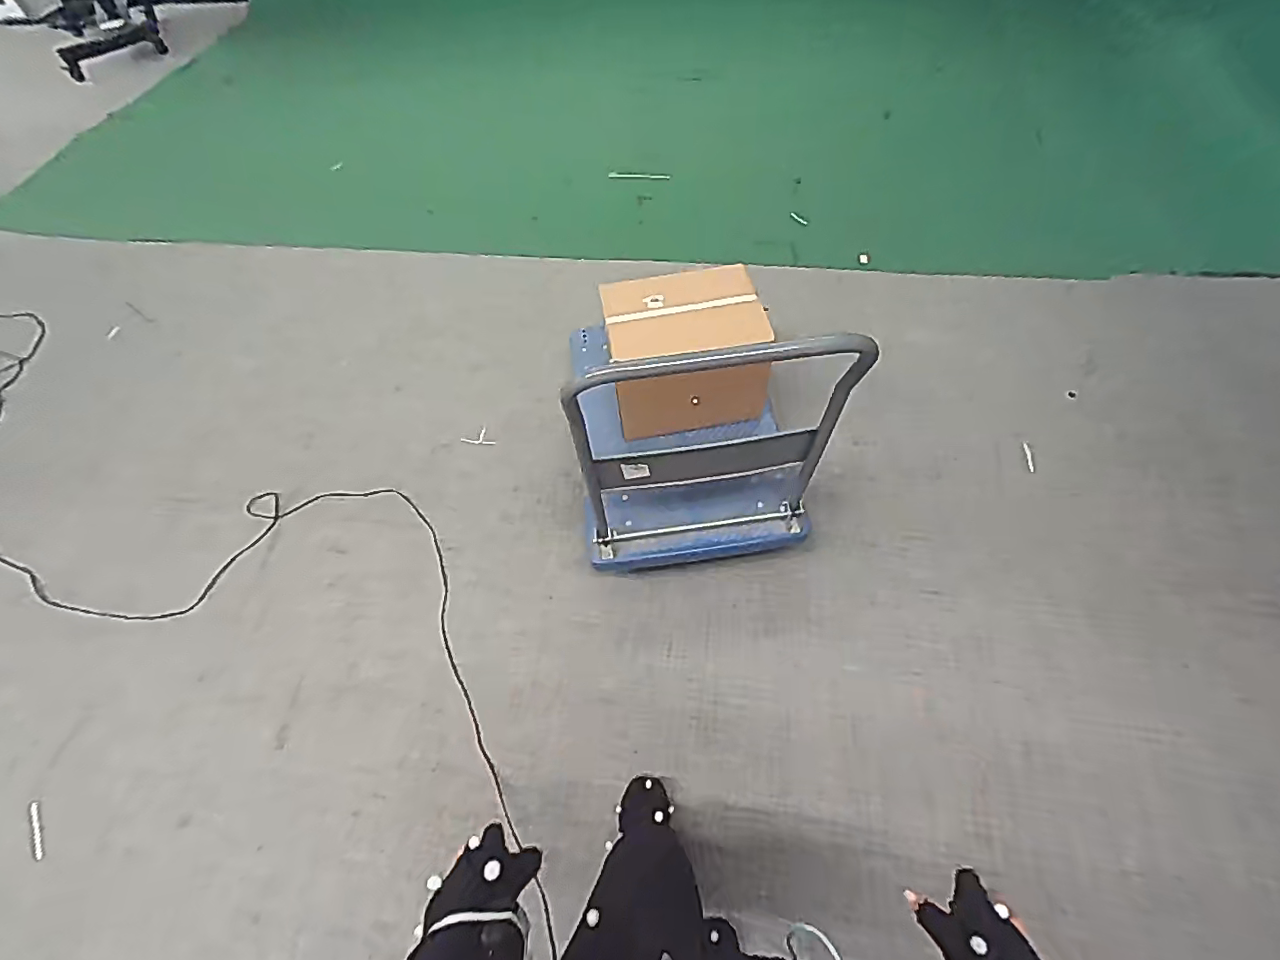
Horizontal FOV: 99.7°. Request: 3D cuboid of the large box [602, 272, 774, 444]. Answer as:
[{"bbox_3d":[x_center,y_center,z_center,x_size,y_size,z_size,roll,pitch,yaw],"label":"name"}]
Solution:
[{"bbox_3d":[0.127,-0.340,1.540,0.408,0.320,0.320,-10,57,-2],"label":"large box"}]
